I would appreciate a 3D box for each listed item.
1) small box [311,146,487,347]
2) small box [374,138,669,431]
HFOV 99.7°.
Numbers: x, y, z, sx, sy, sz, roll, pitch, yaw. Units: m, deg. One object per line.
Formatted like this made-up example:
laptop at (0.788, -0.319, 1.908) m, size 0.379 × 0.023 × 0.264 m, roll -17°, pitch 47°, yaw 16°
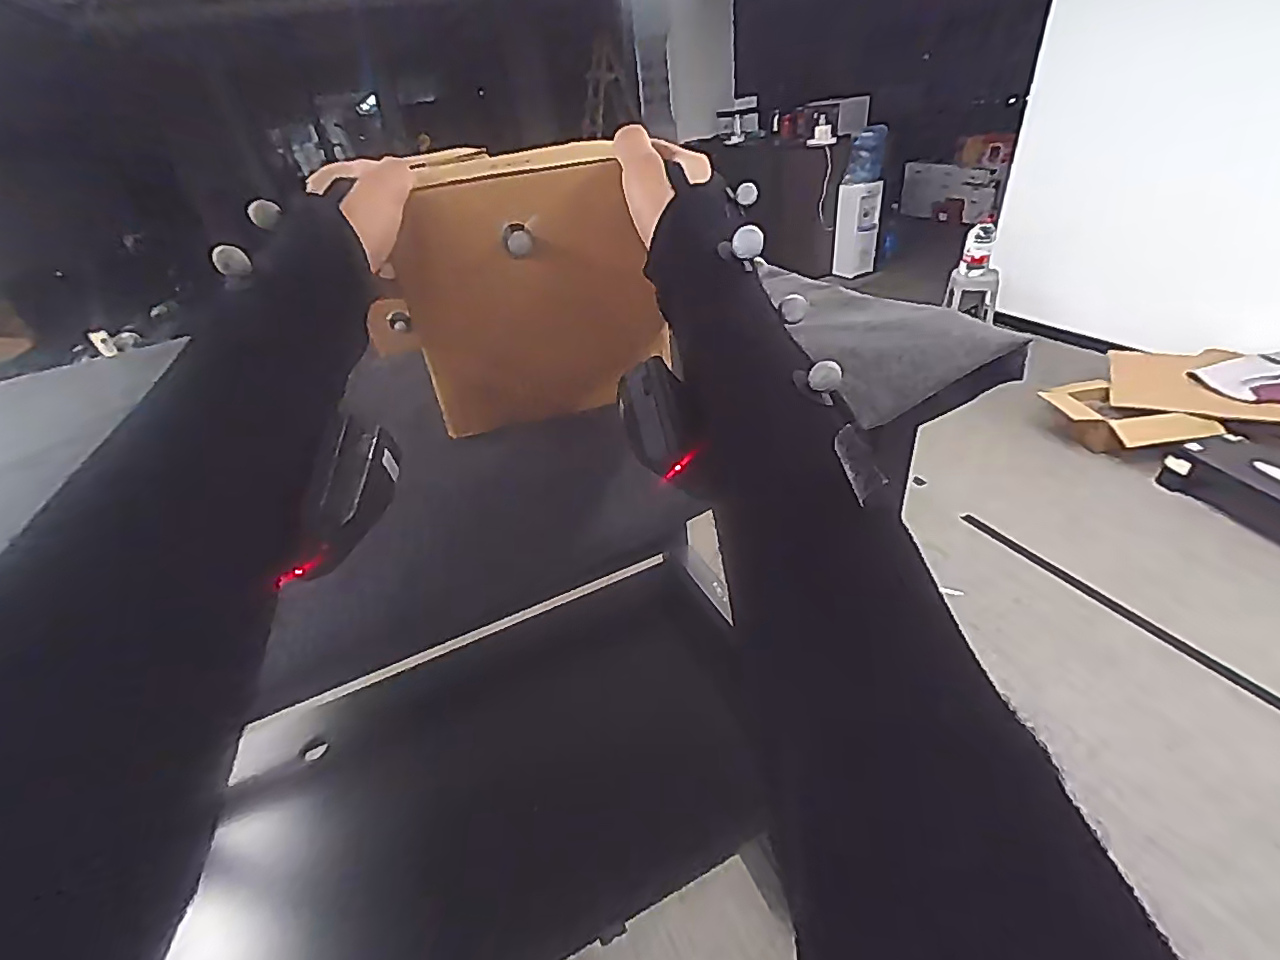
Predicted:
small box at (-0.237, -0.262, 0.608) m, size 0.168 × 0.176 × 0.179 m, roll -18°, pitch 35°, yaw -13°
small box at (-0.080, -0.161, 0.433) m, size 0.179 × 0.176 × 0.168 m, roll -14°, pitch 35°, yaw -7°
